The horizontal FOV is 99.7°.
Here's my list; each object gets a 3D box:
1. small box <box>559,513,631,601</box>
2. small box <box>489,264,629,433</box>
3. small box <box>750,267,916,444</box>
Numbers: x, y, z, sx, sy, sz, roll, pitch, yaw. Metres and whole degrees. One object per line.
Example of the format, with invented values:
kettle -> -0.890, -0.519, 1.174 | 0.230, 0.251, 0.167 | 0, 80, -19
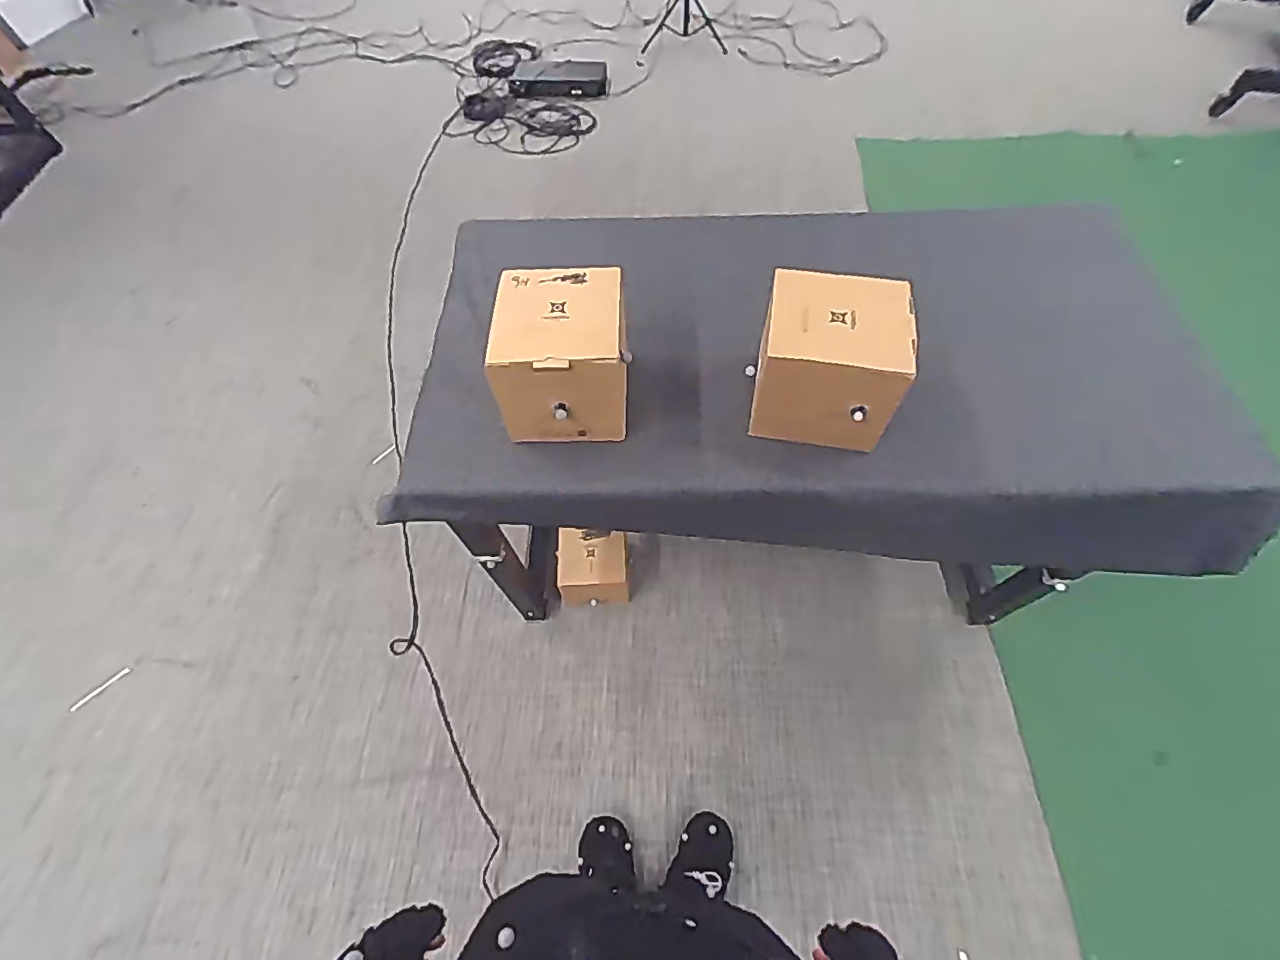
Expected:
small box -> -0.112, 0.200, 1.395 | 0.168, 0.176, 0.179 | -3, 61, 1
small box -> -0.101, -0.178, 0.769 | 0.168, 0.176, 0.179 | -1, 60, 1
small box -> 0.258, -0.167, 0.753 | 0.179, 0.176, 0.168 | 8, 59, 8
